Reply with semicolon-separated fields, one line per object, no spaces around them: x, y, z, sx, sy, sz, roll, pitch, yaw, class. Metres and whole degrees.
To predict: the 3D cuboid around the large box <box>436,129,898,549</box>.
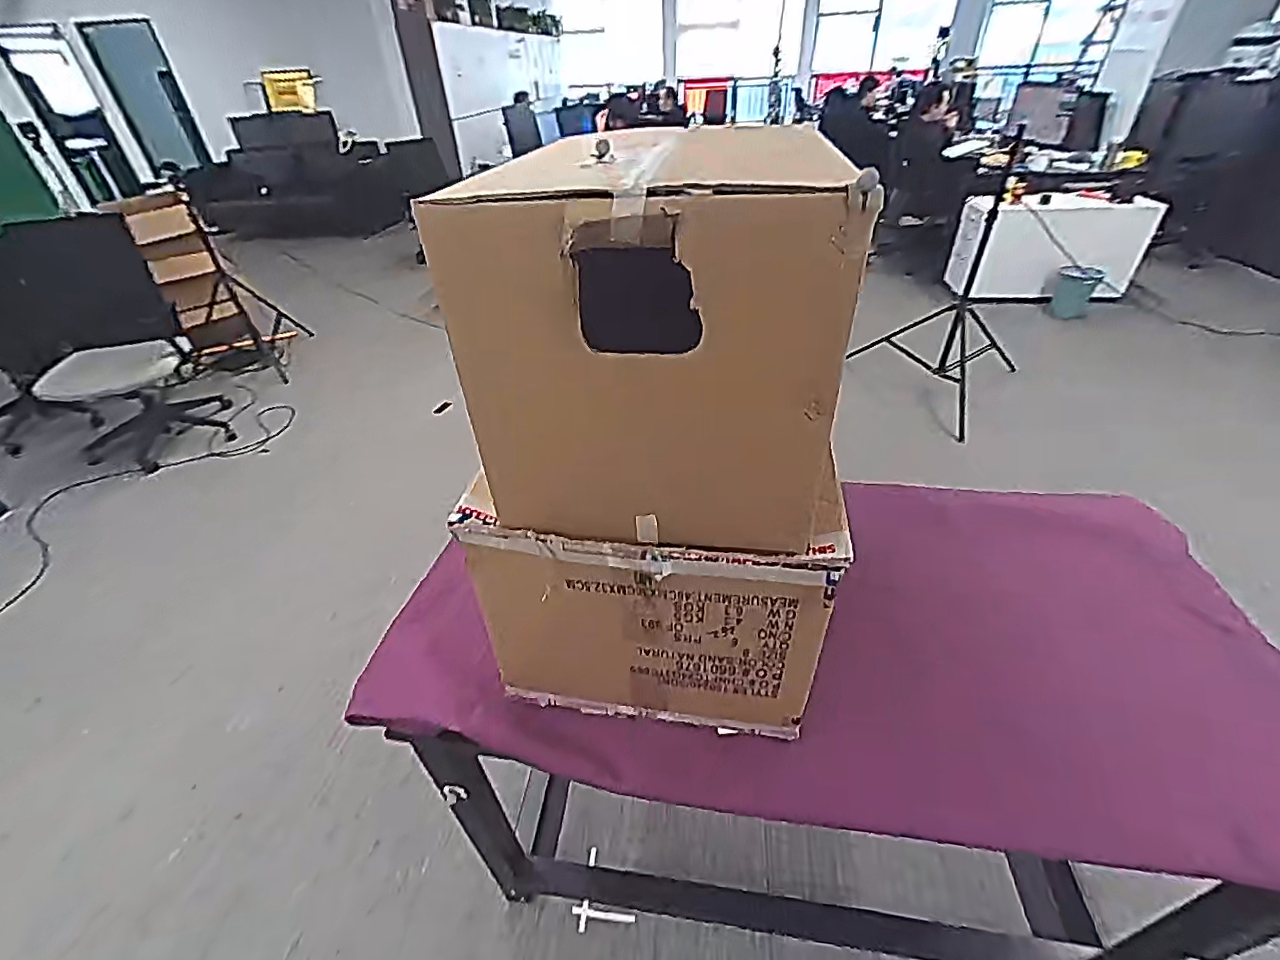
0.039;-0.178;0.594;0.320;0.320;0.408;2;38;8;large box
